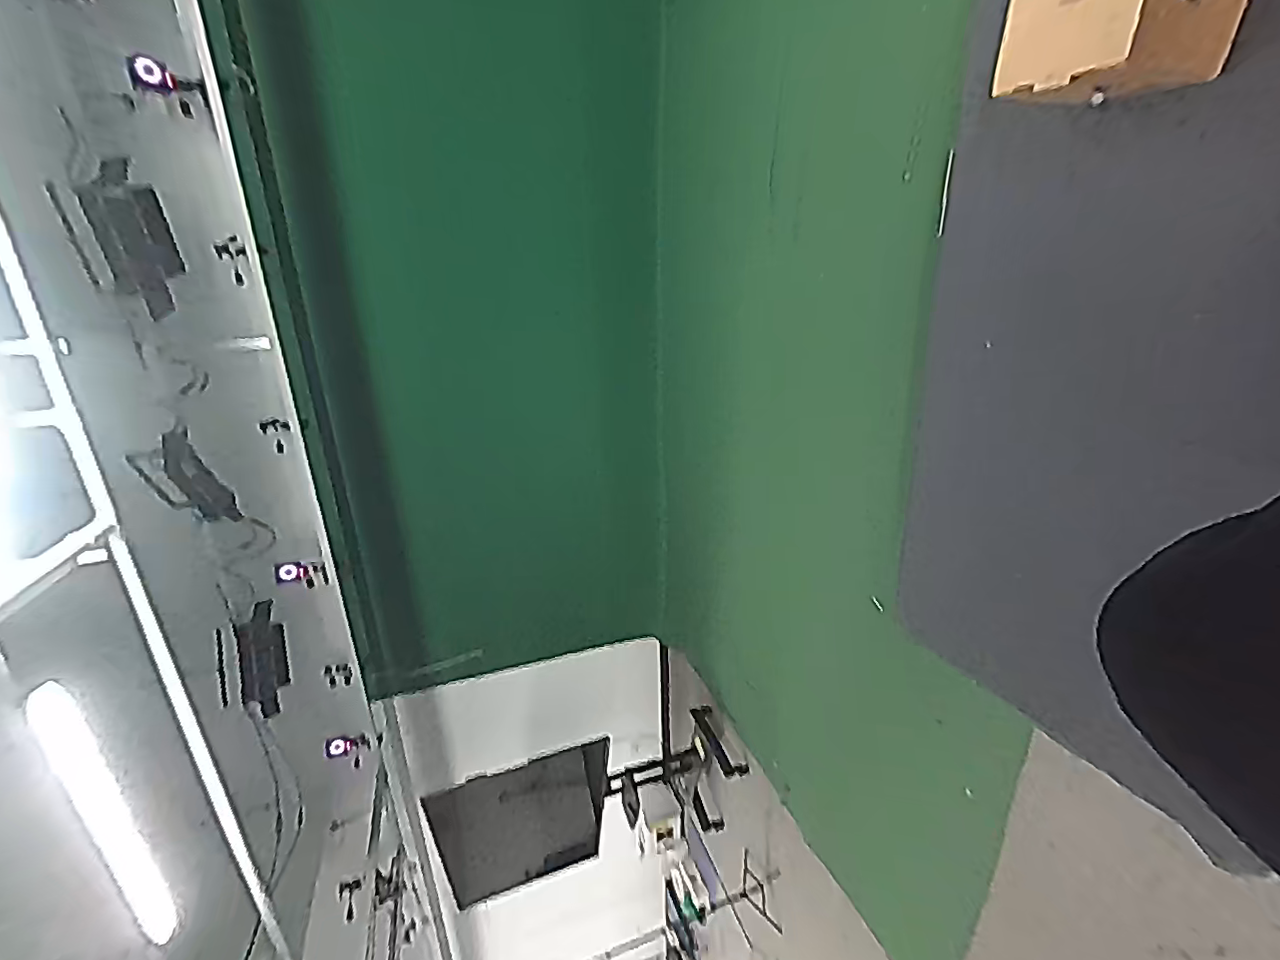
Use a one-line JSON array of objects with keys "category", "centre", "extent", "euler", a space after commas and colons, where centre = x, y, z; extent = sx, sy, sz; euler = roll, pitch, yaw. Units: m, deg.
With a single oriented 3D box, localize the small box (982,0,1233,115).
[{"category": "small box", "centre": [0.561, -0.552, 0.646], "extent": [0.168, 0.176, 0.179], "euler": [-132, 38, -58]}]
